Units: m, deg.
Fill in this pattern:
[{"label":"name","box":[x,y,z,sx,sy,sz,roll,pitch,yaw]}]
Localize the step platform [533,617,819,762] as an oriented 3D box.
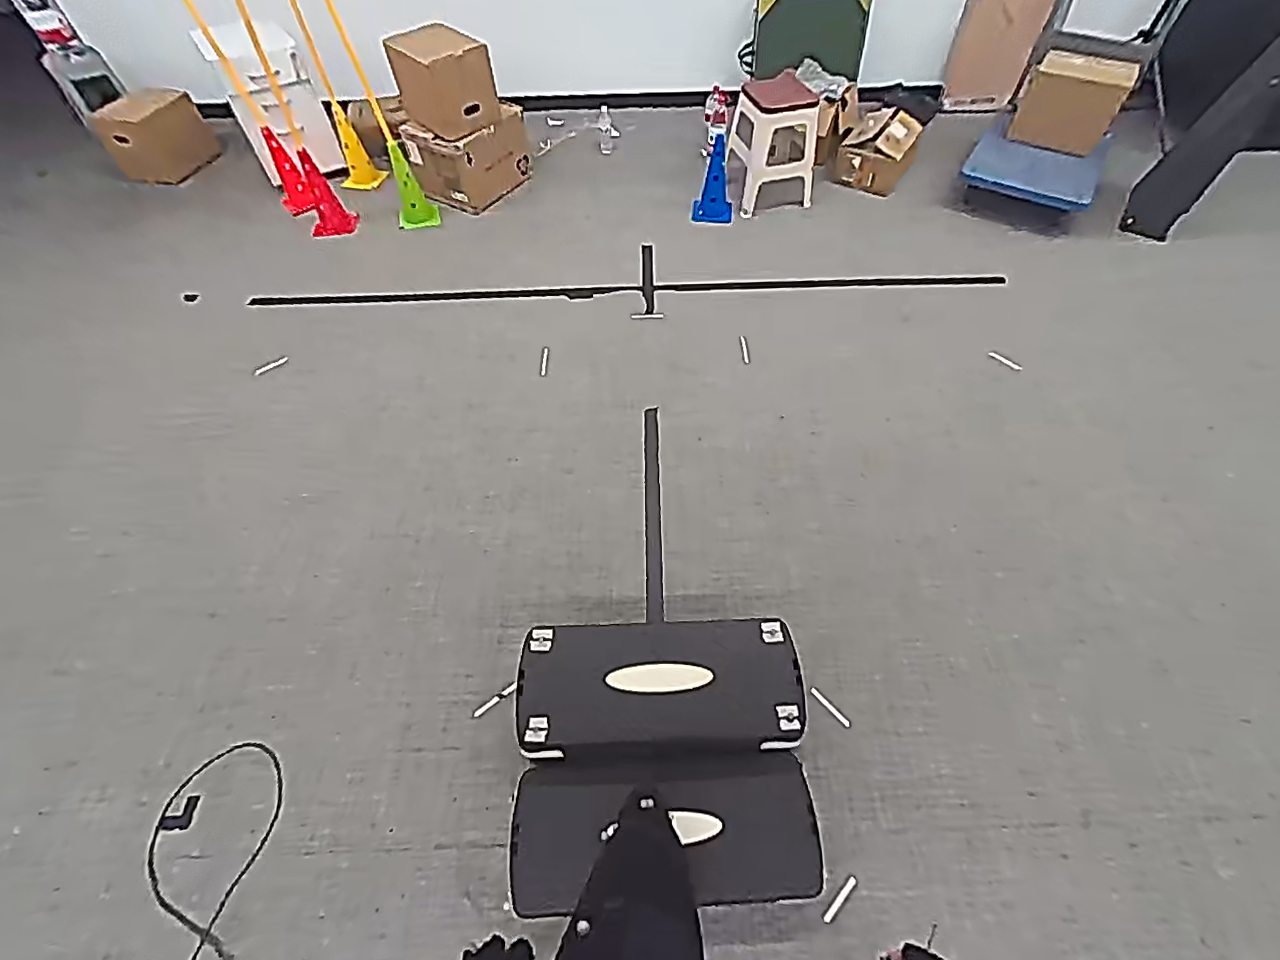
[{"label":"step platform","box":[0.080,0.511,1.338,0.684,0.204,0.286,-2,55,-2]}]
